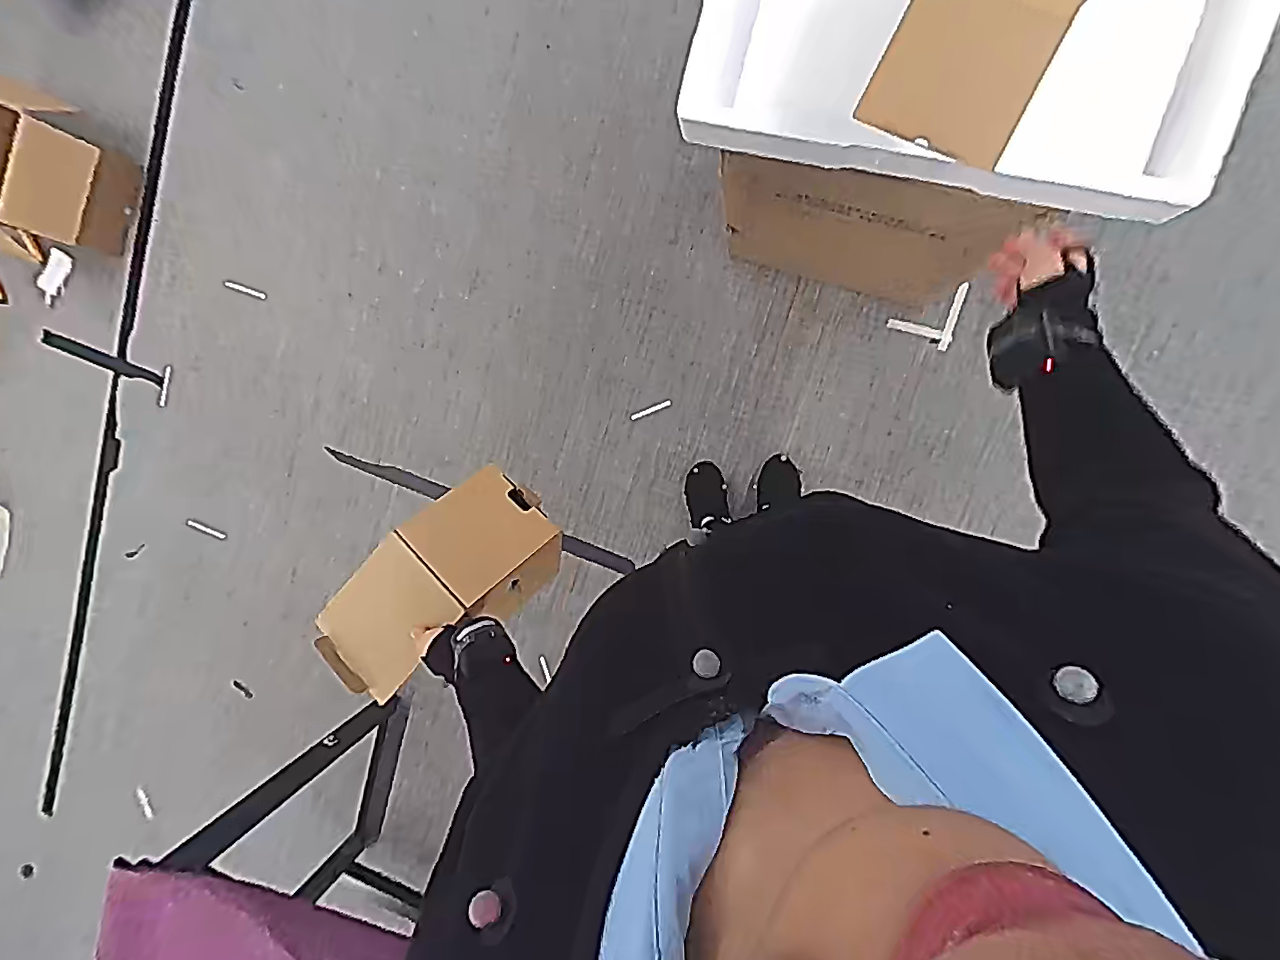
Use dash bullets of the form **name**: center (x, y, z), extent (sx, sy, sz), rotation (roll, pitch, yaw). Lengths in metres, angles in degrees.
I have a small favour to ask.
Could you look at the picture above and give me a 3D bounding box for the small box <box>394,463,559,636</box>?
- **small box**: center (-0.243, 0.114, 0.843), extent (0.168, 0.176, 0.179), rotation (42, 61, 15)
